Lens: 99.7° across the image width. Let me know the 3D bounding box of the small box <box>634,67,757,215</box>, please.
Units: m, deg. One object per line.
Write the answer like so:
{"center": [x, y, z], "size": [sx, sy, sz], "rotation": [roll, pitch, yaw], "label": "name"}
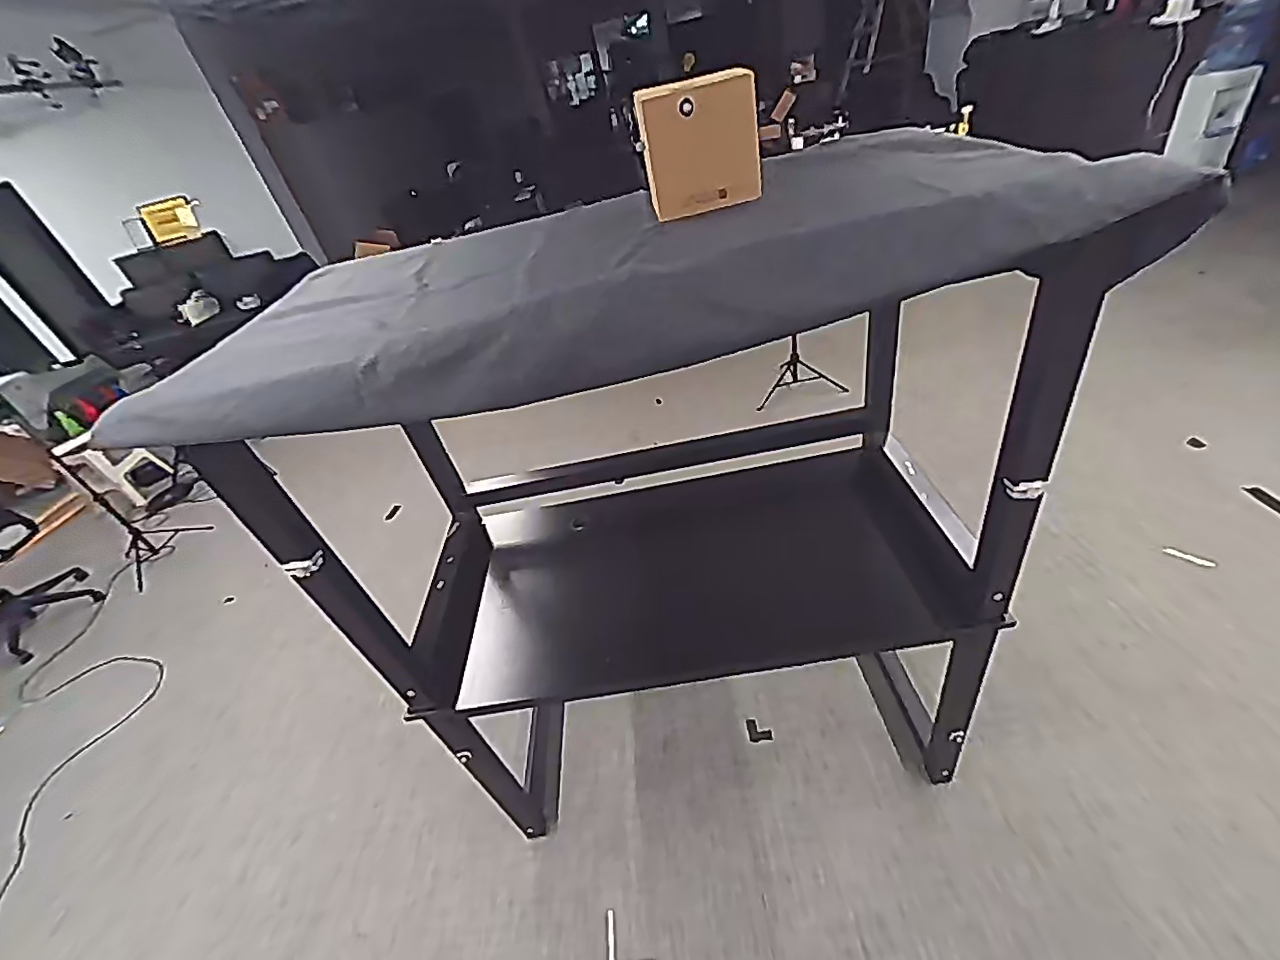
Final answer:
{"center": [0.088, -0.548, 0.881], "size": [0.168, 0.176, 0.179], "rotation": [-12, 36, 5], "label": "small box"}
